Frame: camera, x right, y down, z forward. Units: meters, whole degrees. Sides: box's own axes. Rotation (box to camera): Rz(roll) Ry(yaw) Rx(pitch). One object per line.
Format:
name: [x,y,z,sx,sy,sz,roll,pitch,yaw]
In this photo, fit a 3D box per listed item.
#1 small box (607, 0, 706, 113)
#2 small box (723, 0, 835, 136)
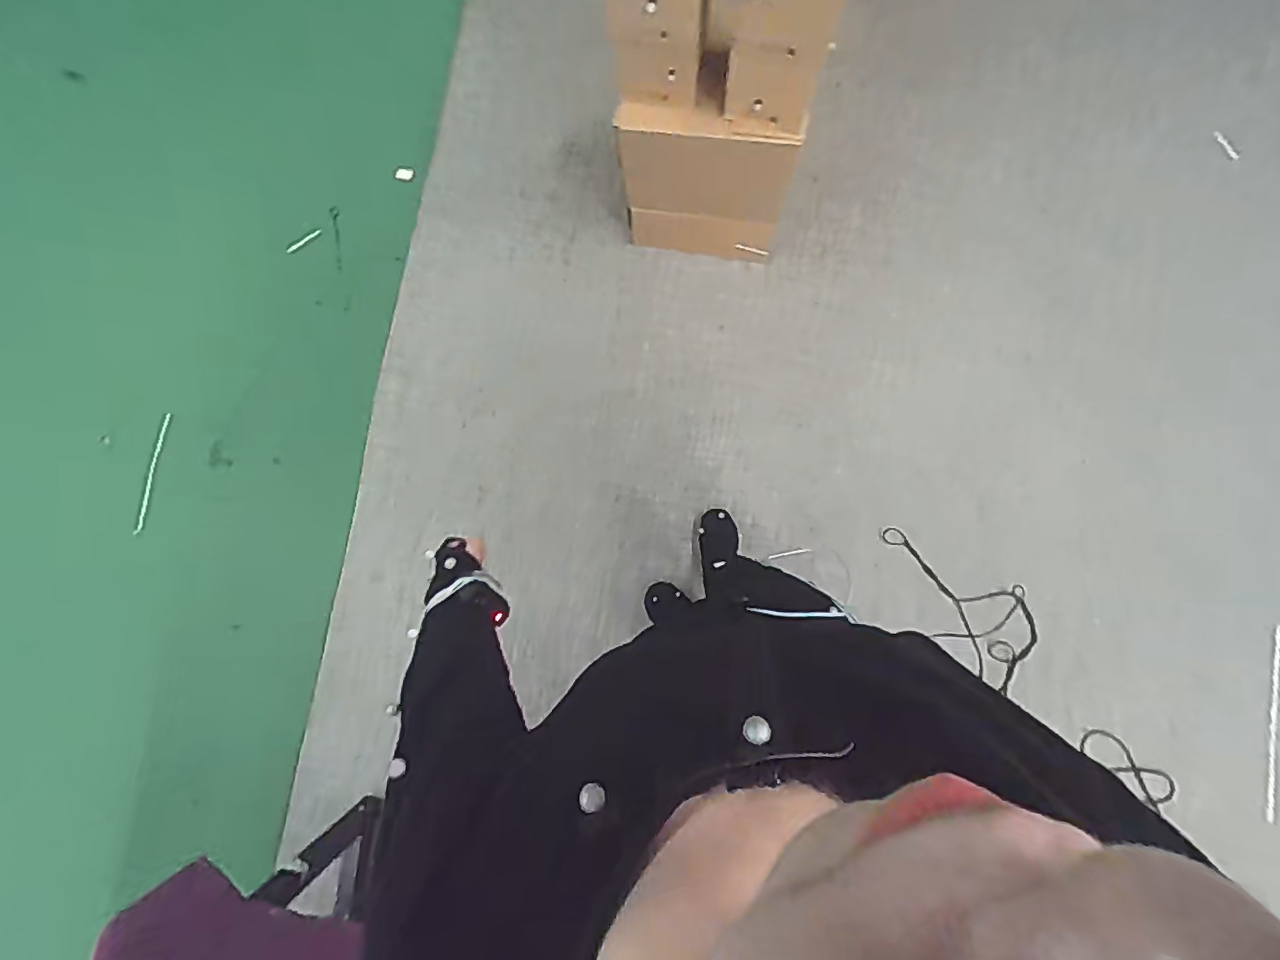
small box: [0.038,-0.883,1.087,0.168,0.176,0.179,11,85,3]
small box: [0.266,-0.829,1.063,0.168,0.176,0.179,15,86,6]
